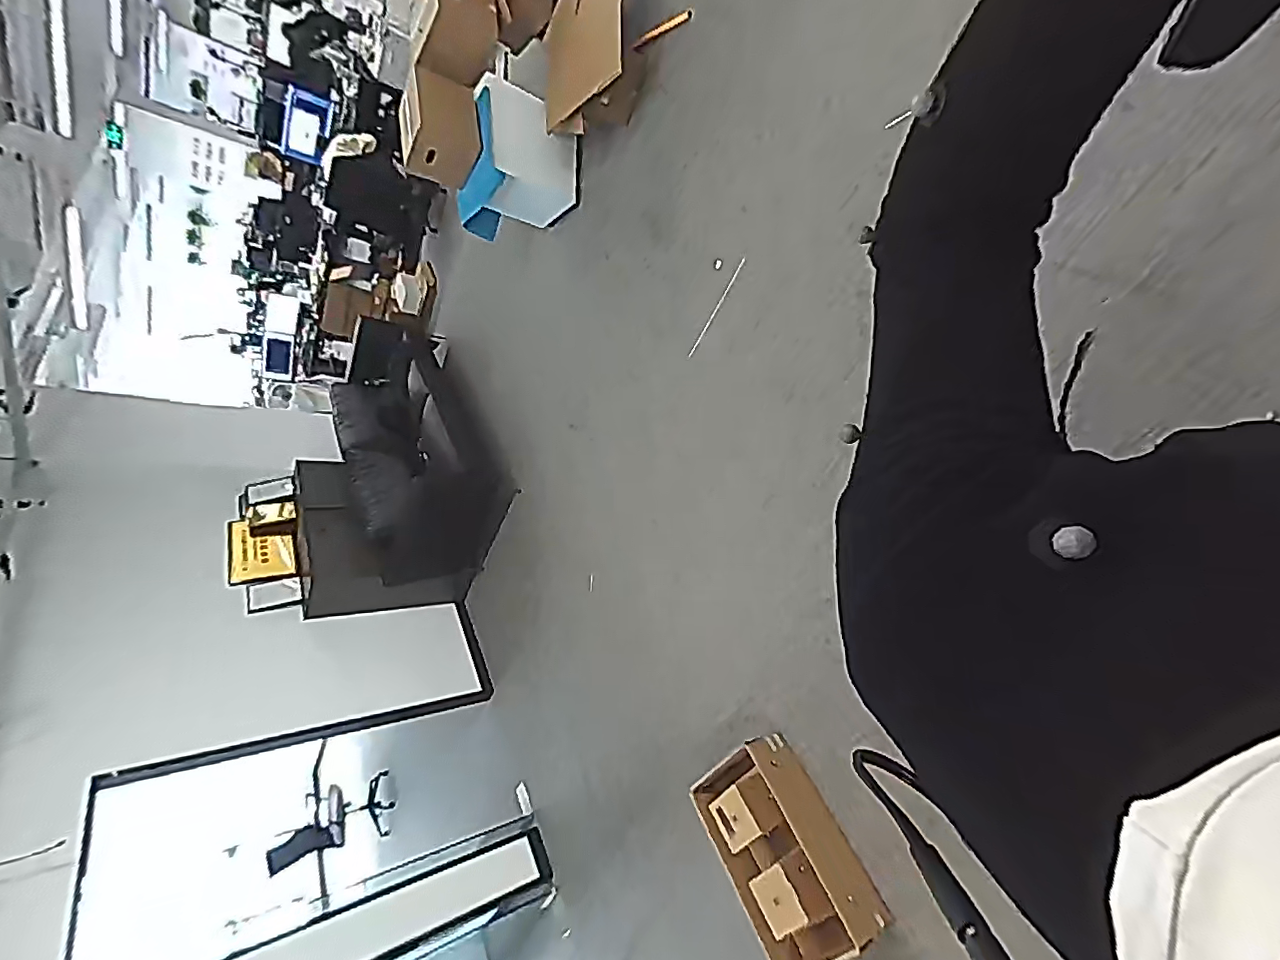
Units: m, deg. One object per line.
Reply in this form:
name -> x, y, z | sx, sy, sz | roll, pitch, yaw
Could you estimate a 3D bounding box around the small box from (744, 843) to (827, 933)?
small box -> 0.483, 1.330, 1.772 | 0.179, 0.176, 0.168 | -58, 45, 30
